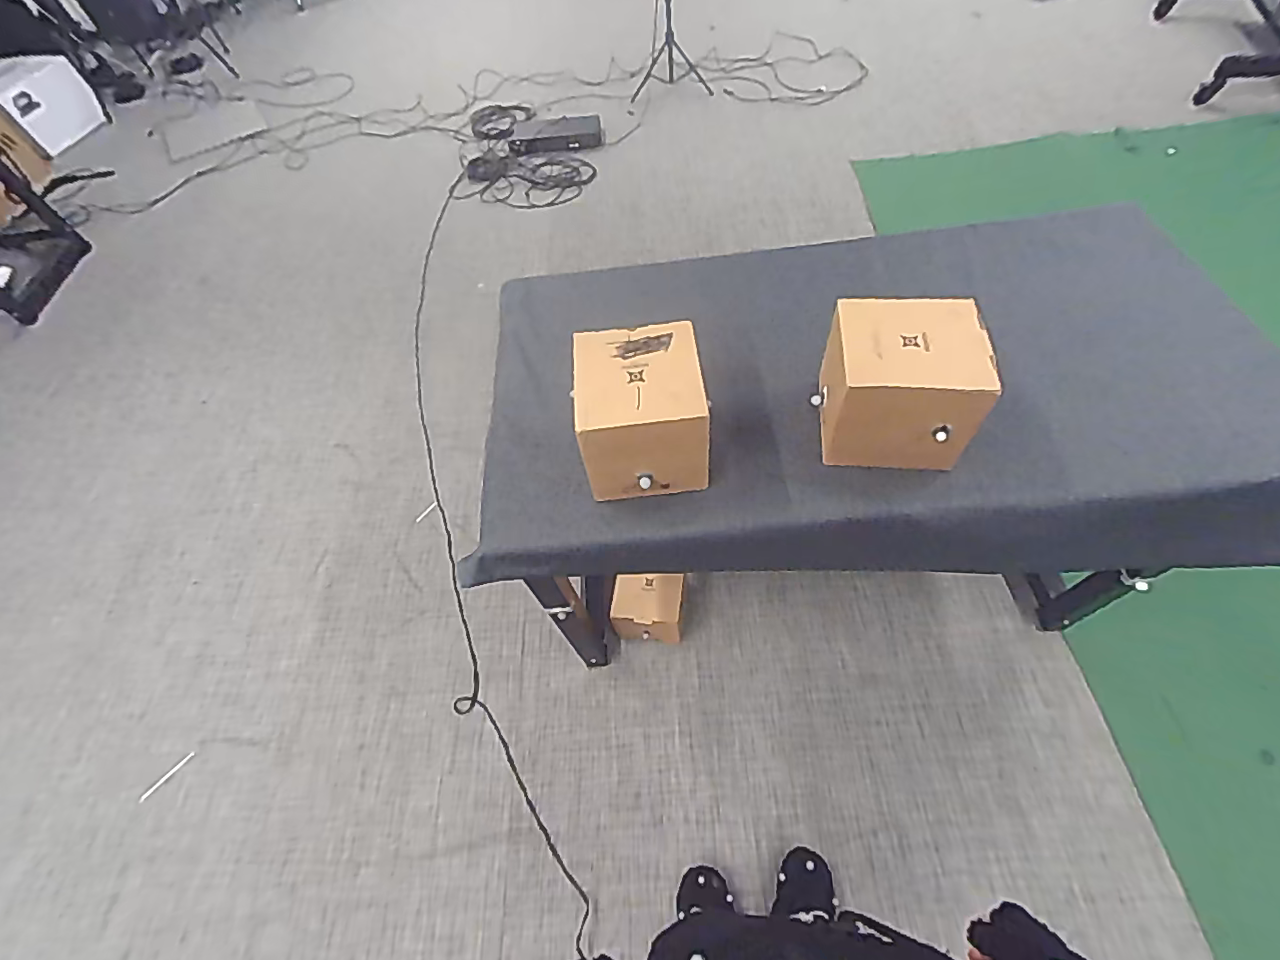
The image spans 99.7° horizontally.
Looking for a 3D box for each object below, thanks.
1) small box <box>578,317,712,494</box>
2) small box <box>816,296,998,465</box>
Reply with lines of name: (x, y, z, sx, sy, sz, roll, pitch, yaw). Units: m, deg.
small box: (0.006, -0.101, 0.766, 0.168, 0.176, 0.179, -6, 57, 2)
small box: (0.354, -0.134, 0.755, 0.179, 0.176, 0.168, 2, 56, 9)
